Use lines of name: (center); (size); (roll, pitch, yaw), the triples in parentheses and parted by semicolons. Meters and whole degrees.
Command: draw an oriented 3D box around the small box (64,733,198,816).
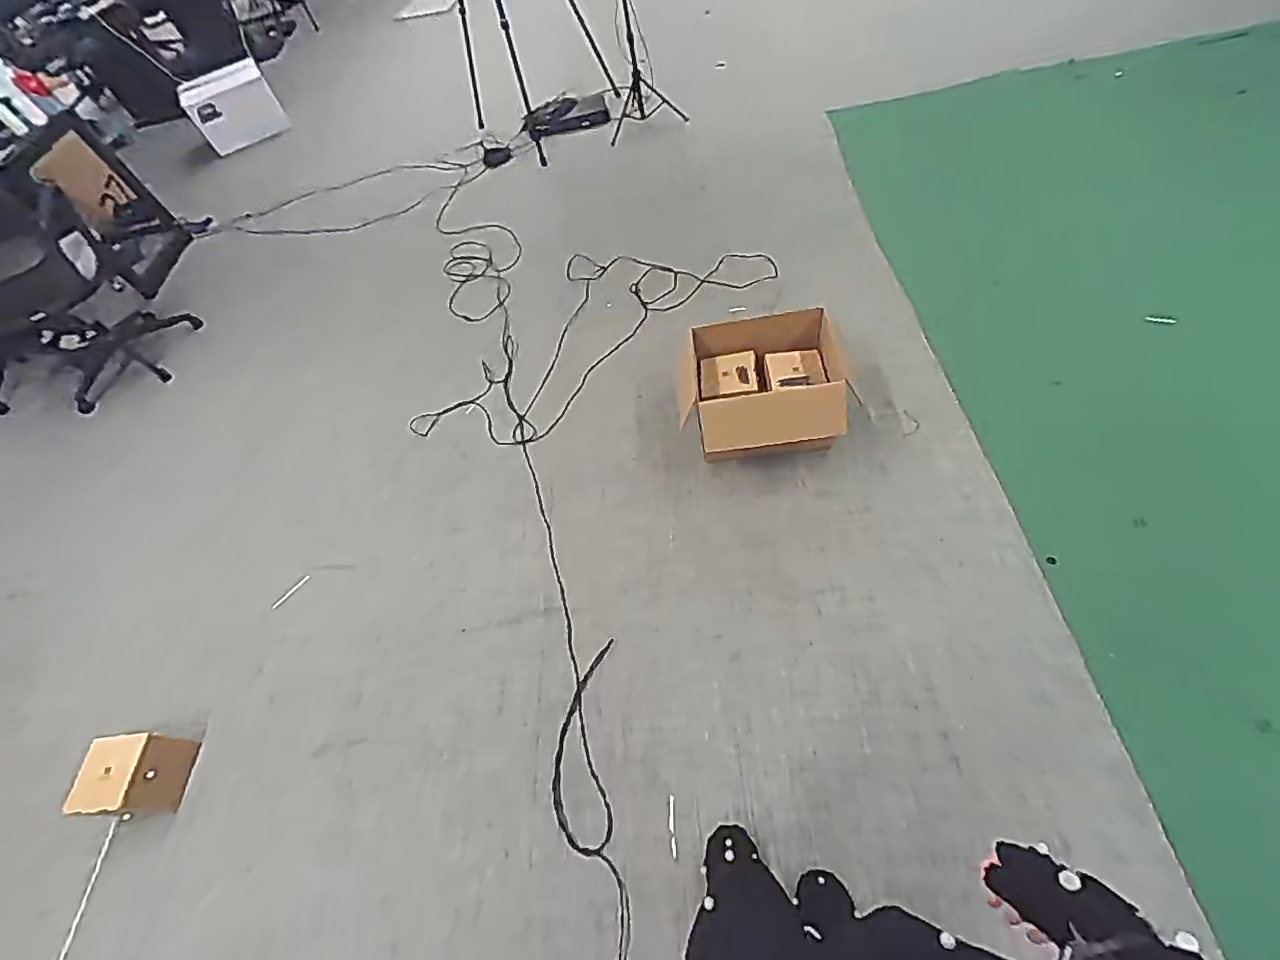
small box: (-1.336, 0.785, 1.438); (0.168, 0.176, 0.179); (-8, 57, 6)
